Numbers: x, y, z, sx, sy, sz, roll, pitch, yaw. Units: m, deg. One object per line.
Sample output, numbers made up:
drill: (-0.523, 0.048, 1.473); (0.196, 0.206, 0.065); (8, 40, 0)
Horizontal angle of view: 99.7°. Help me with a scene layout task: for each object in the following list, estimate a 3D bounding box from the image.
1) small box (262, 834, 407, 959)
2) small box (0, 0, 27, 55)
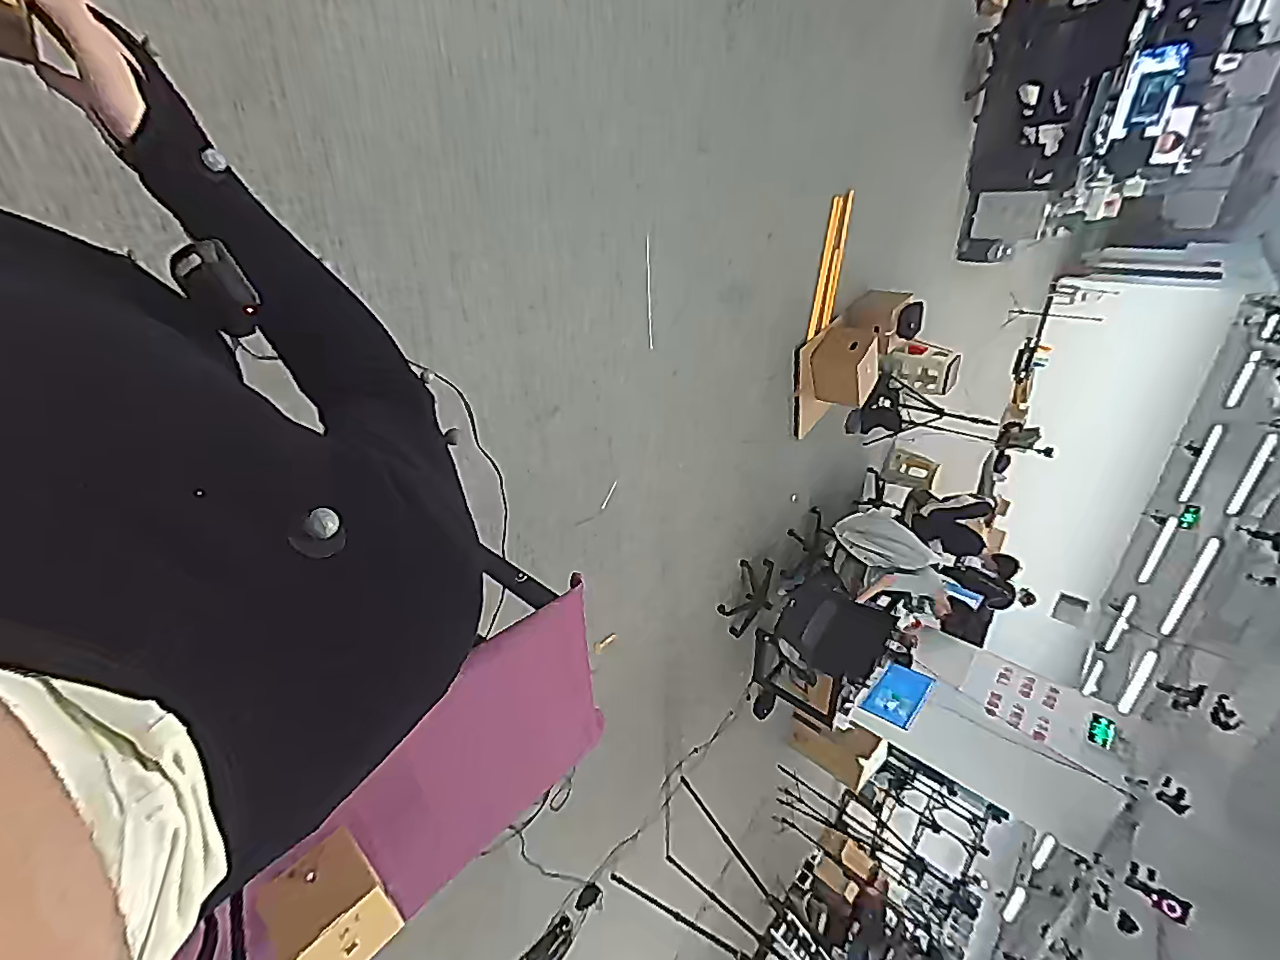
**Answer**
small box: (-0.589, 0.840, 1.049); (0.168, 0.176, 0.179); (-33, 130, -38)
small box: (-0.487, -0.391, 0.306); (0.168, 0.176, 0.179); (-8, 112, -44)
